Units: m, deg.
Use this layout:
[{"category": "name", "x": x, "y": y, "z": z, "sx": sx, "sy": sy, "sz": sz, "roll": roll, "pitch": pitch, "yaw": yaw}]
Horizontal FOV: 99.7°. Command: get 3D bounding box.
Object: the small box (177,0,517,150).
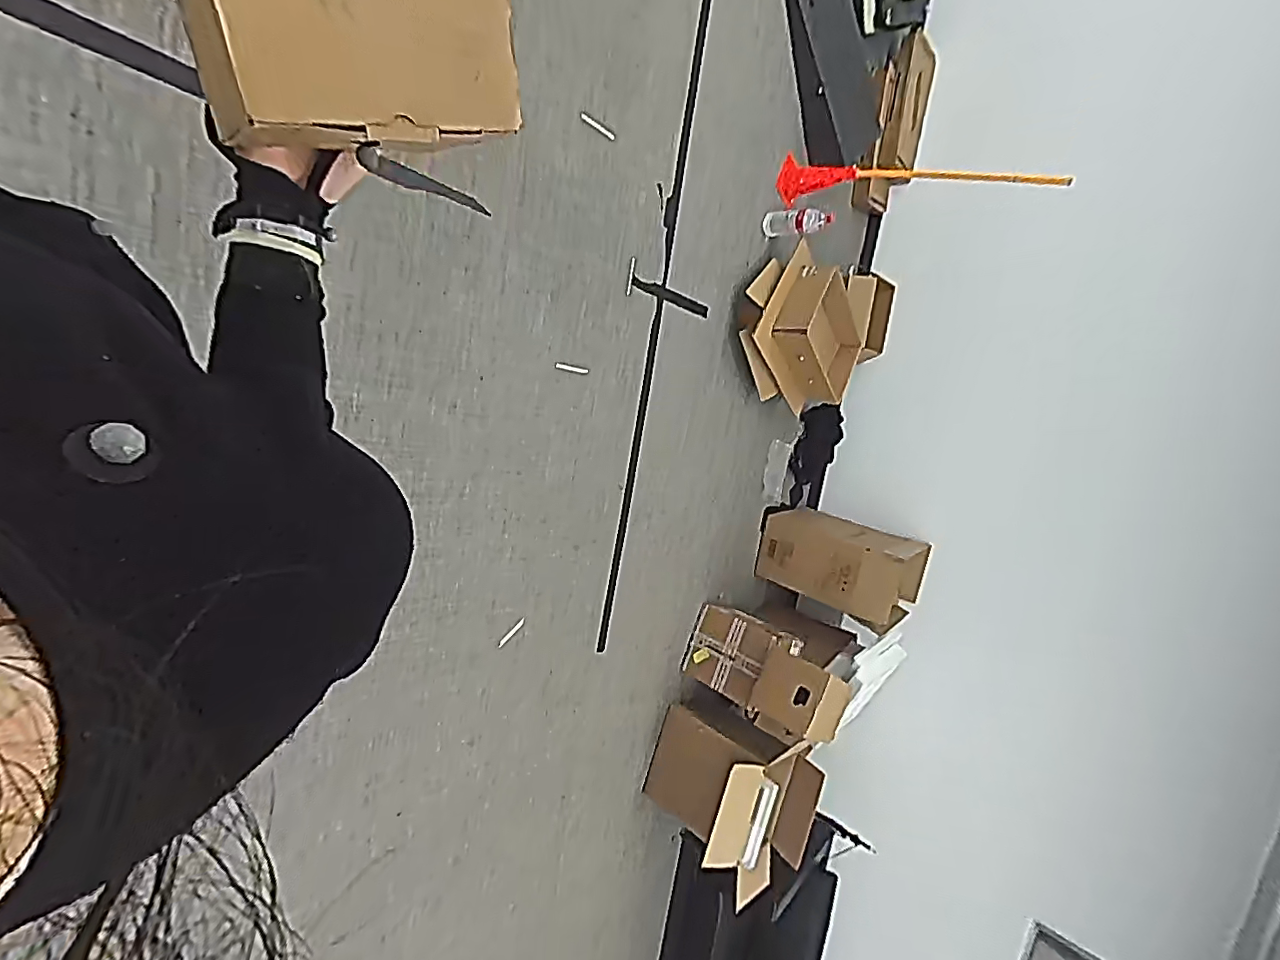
[{"category": "small box", "x": -0.202, "y": -0.324, "z": 0.359, "sx": 0.168, "sy": 0.176, "sz": 0.179, "roll": -22, "pitch": 126, "yaw": -34}]
